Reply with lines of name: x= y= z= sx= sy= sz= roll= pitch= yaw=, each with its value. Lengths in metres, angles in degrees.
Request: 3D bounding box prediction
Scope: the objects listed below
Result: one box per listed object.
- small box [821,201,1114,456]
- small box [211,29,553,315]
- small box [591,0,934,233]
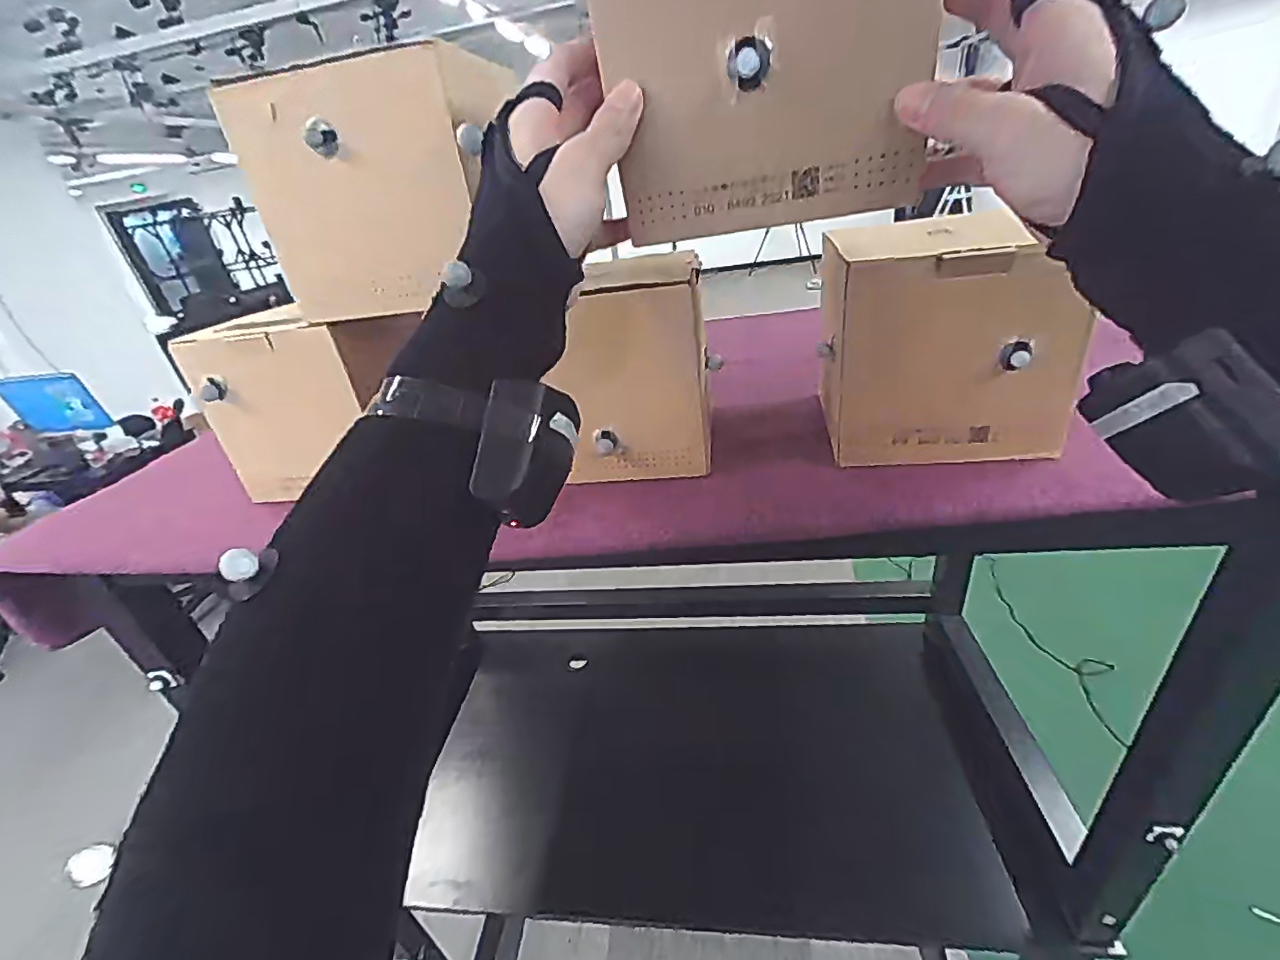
small box: x=0.250 y=-0.127 z=0.466 sx=0.168 sy=0.176 sz=0.179 roll=-2 pitch=30 yaw=14
small box: x=-0.192 y=-0.245 z=0.462 sx=0.179 sy=0.176 sz=0.168 roll=-2 pitch=29 yaw=11
small box: x=0.076 y=-0.264 z=0.334 sx=0.168 sy=0.176 sz=0.179 roll=-2 pitch=36 yaw=15
